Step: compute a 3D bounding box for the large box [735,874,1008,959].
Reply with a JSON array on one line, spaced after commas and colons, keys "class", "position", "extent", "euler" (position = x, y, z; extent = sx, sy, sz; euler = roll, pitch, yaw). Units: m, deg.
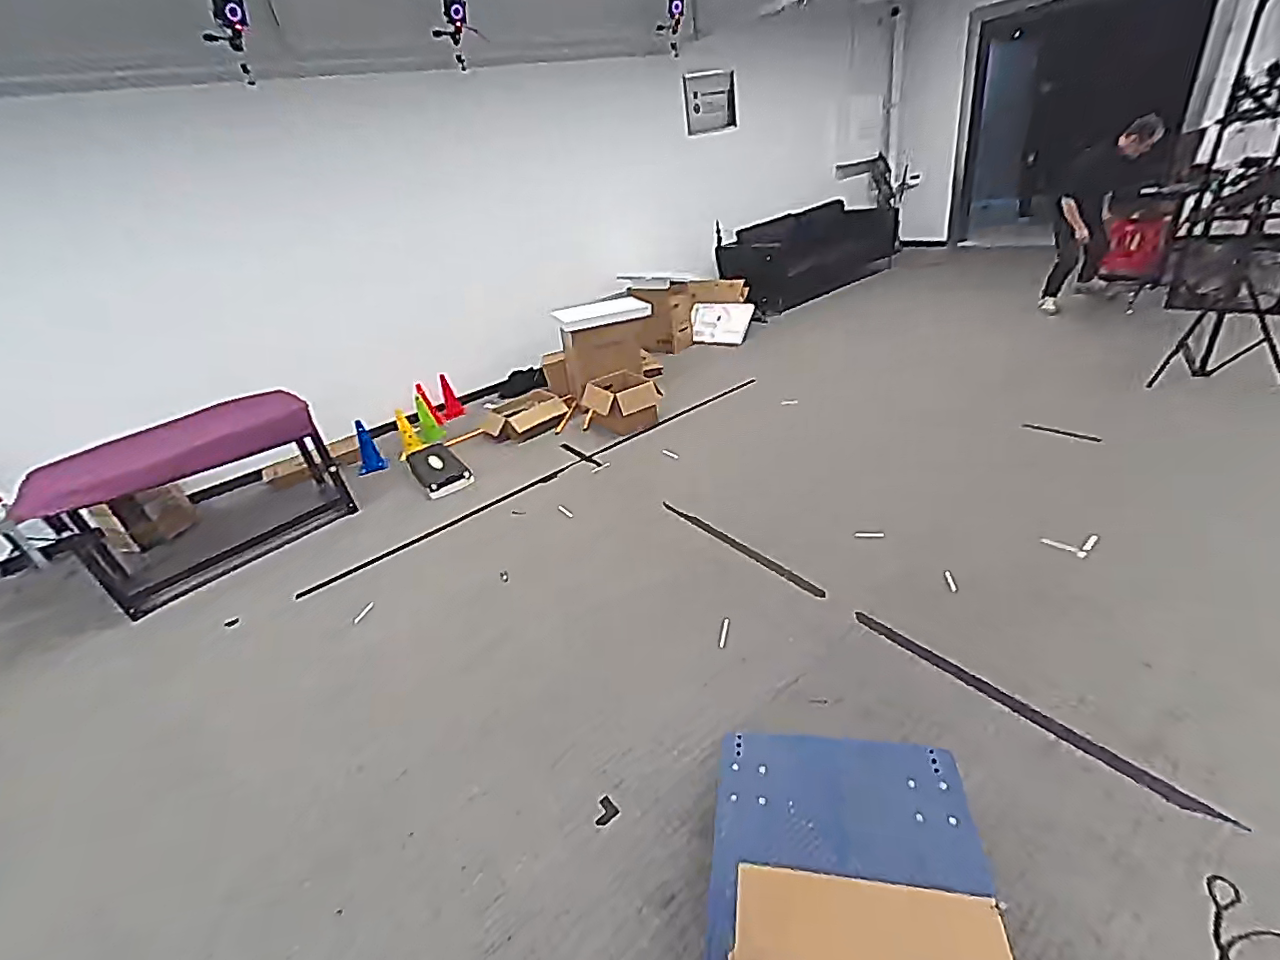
[{"class": "large box", "position": [0.356, 0.889, 0.845], "extent": [0.408, 0.320, 0.320], "euler": [-1, 32, 14]}]
